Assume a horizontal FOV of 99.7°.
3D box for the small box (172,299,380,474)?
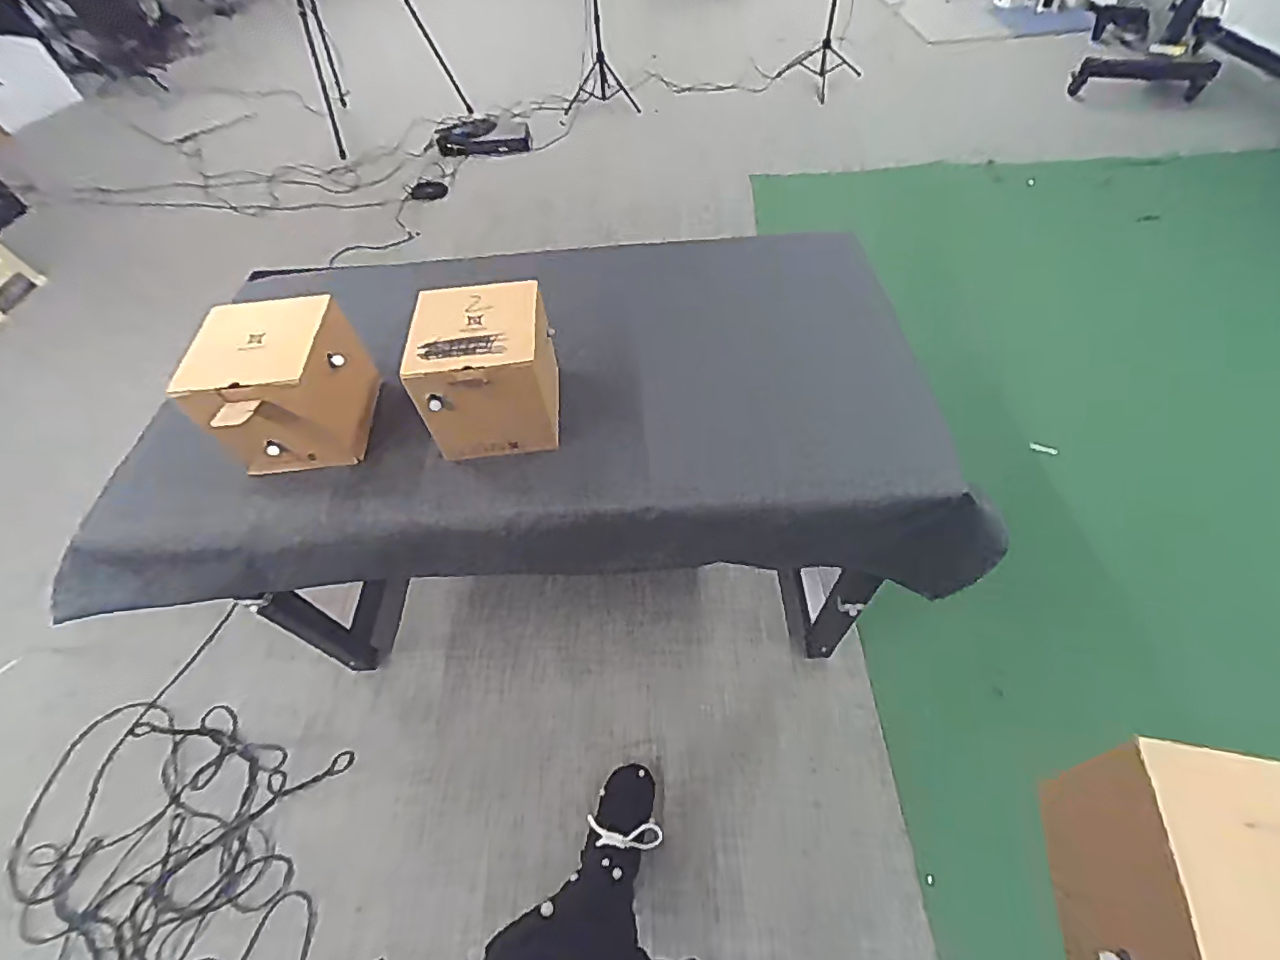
[{"bbox_3d":[-0.495,-0.131,0.772,0.168,0.176,0.179,-6,54,-2],"label":"small box"}]
